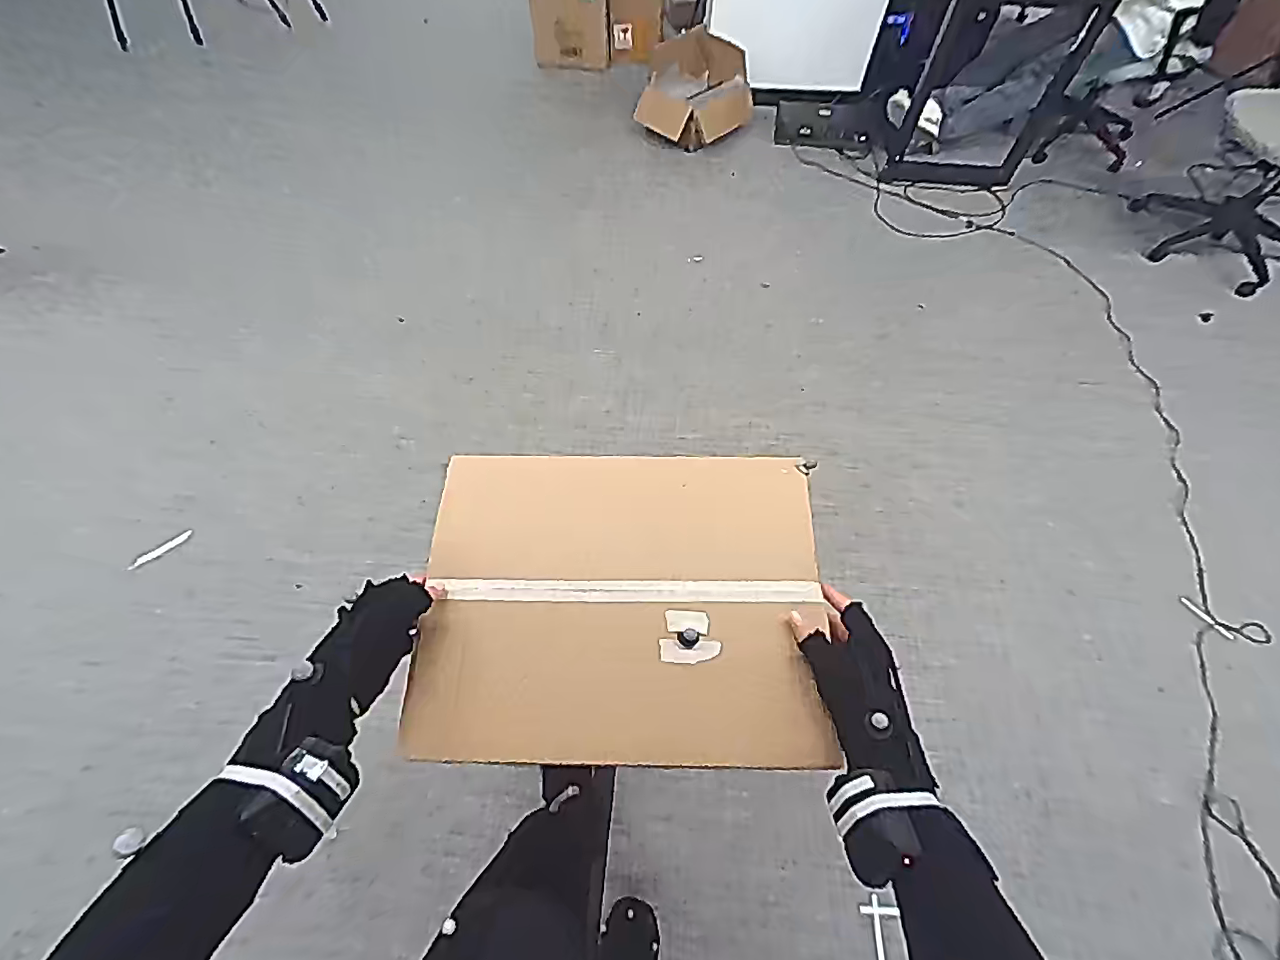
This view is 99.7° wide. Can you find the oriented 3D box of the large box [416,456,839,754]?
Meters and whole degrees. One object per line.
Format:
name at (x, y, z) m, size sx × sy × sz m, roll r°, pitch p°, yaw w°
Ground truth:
large box at (-0.012, 0.176, 0.698) m, size 0.408 × 0.320 × 0.320 m, roll 1°, pitch 65°, yaw 1°
